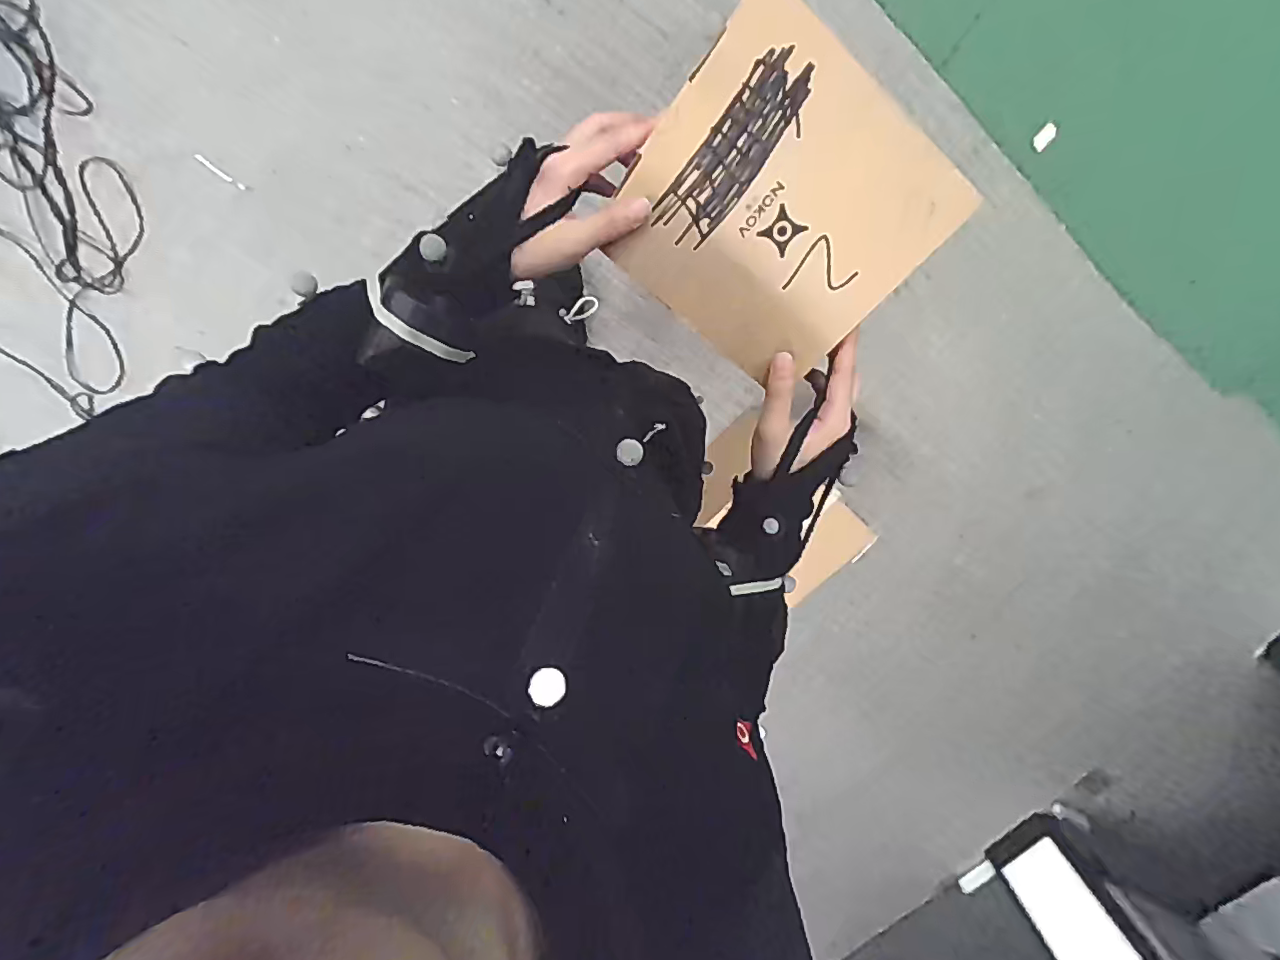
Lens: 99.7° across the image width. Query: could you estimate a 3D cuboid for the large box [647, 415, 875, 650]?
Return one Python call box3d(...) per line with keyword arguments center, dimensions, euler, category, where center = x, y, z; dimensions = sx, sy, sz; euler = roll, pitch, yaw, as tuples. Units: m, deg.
box3d(center=(0.265, 0.116, 1.316), dimensions=(0.320, 0.320, 0.408), euler=(40, 107, -17), category="large box")
